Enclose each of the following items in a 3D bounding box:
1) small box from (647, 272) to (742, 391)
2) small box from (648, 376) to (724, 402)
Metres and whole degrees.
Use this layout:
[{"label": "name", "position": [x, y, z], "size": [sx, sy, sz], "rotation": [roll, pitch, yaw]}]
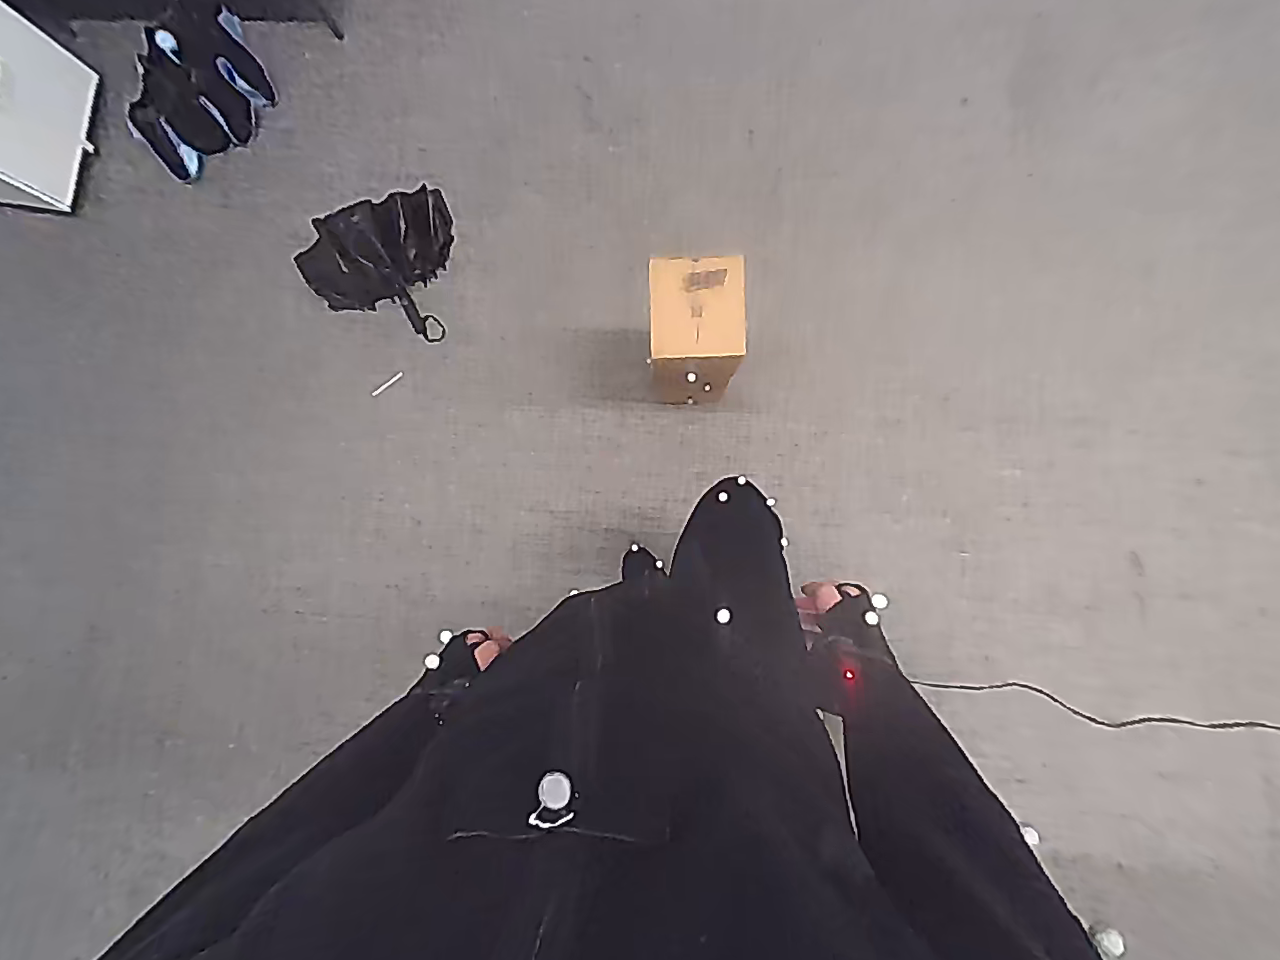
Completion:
[{"label": "small box", "position": [0.096, -0.273, 1.022], "size": [0.168, 0.176, 0.179], "rotation": [-2, 88, 2]}, {"label": "small box", "position": [0.106, -0.272, 1.186], "size": [0.168, 0.176, 0.179], "rotation": [1, 86, 2]}]
